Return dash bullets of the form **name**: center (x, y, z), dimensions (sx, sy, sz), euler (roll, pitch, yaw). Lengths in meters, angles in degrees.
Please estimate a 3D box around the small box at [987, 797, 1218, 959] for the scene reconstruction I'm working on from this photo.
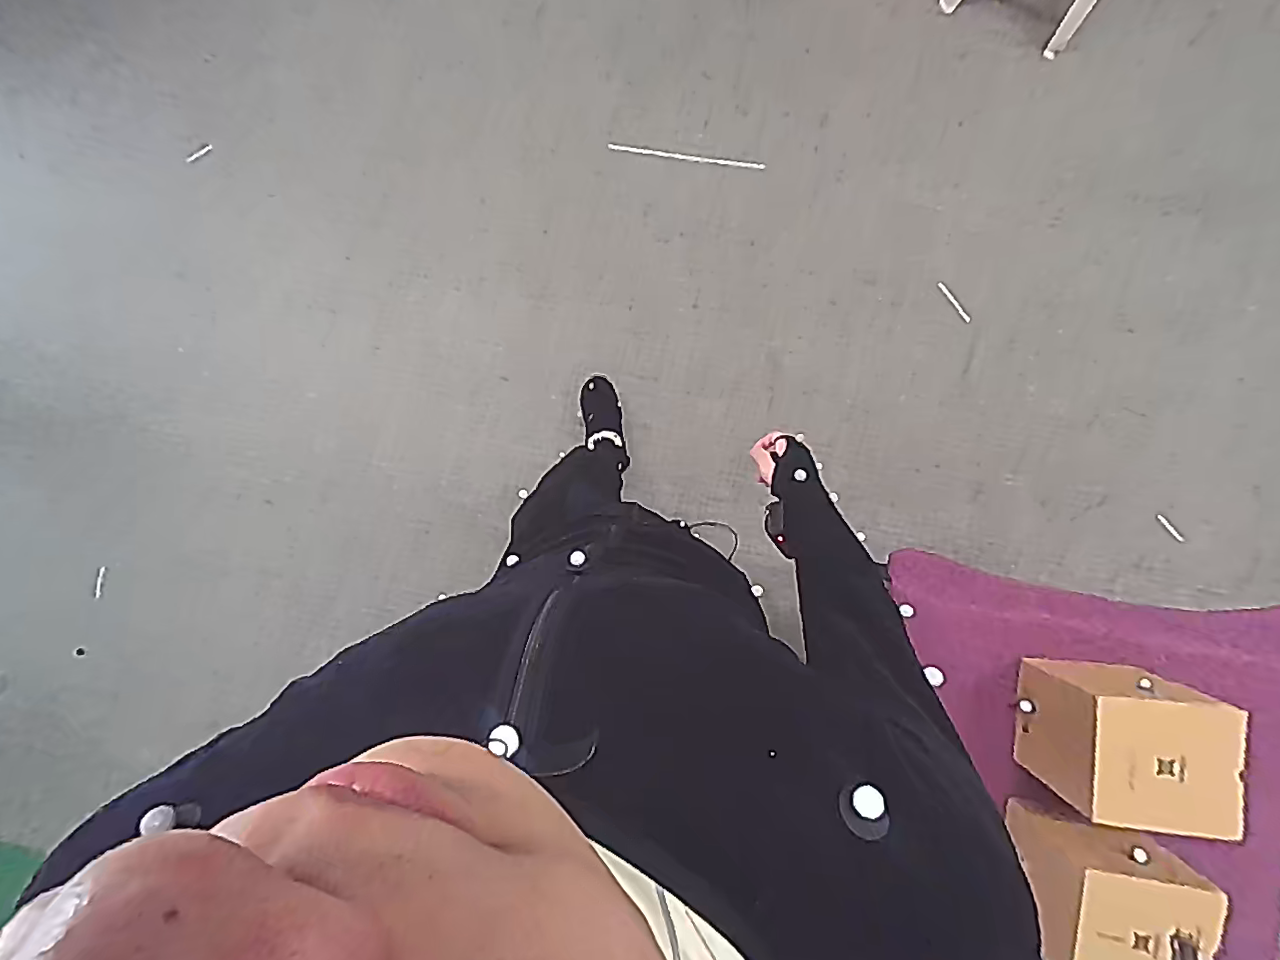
- **small box**: center (0.642, 0.588, 0.772), dimensions (0.179, 0.176, 0.168), euler (9, 90, 5)

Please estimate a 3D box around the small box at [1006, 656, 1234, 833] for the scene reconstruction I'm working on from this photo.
- **small box**: center (0.668, 0.363, 0.773), dimensions (0.179, 0.176, 0.168), euler (4, 89, 5)
